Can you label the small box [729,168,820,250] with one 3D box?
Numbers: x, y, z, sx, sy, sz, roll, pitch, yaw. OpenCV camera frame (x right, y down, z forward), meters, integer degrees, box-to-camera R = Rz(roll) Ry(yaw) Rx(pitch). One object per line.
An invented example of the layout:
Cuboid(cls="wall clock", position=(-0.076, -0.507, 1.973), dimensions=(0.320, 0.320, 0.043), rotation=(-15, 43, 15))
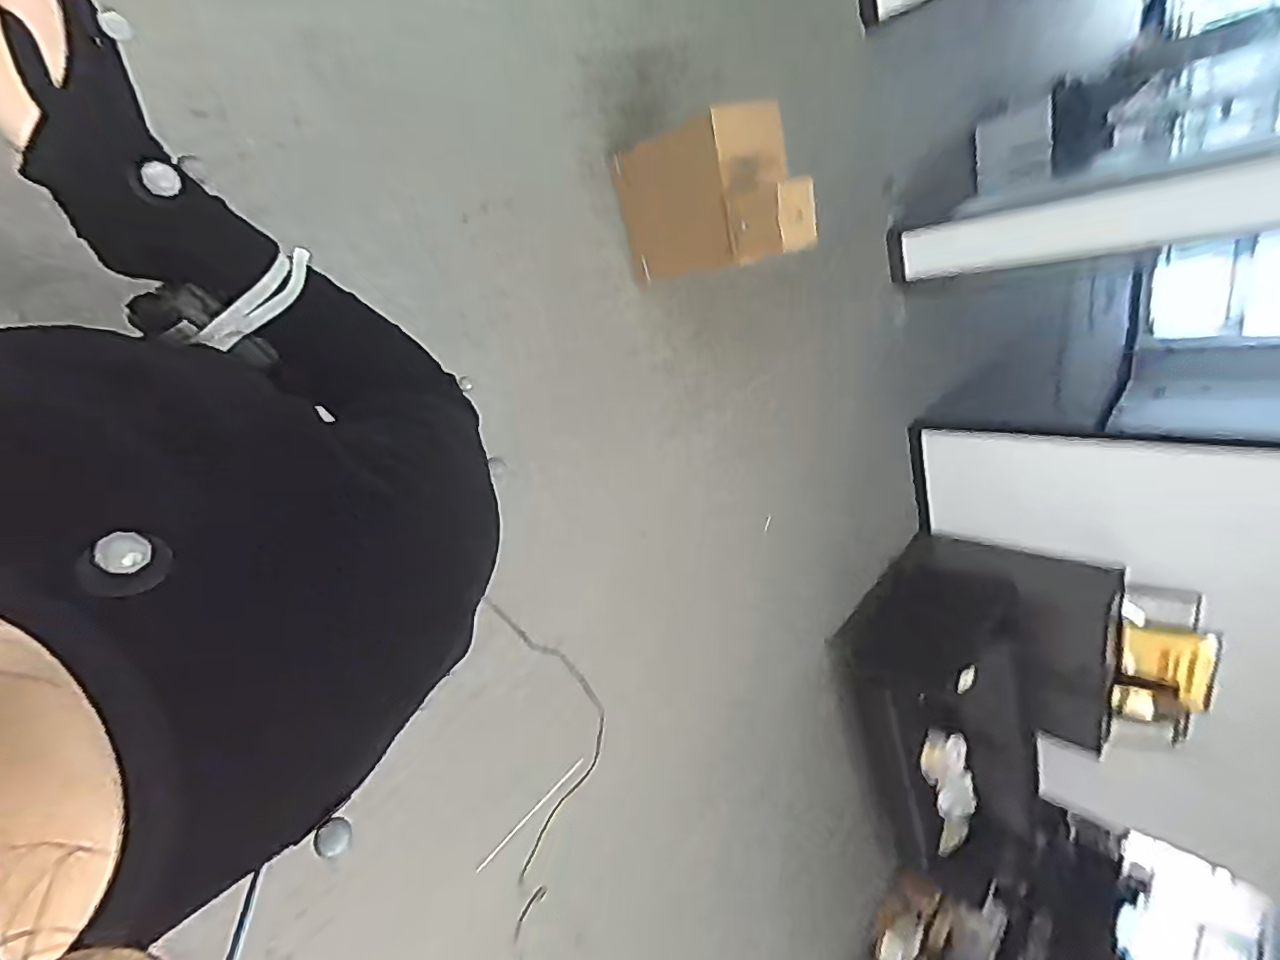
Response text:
Cuboid(cls="small box", position=(0.369, -0.741, 1.484), dimensions=(0.179, 0.176, 0.168), rotation=(-30, 118, -34))
